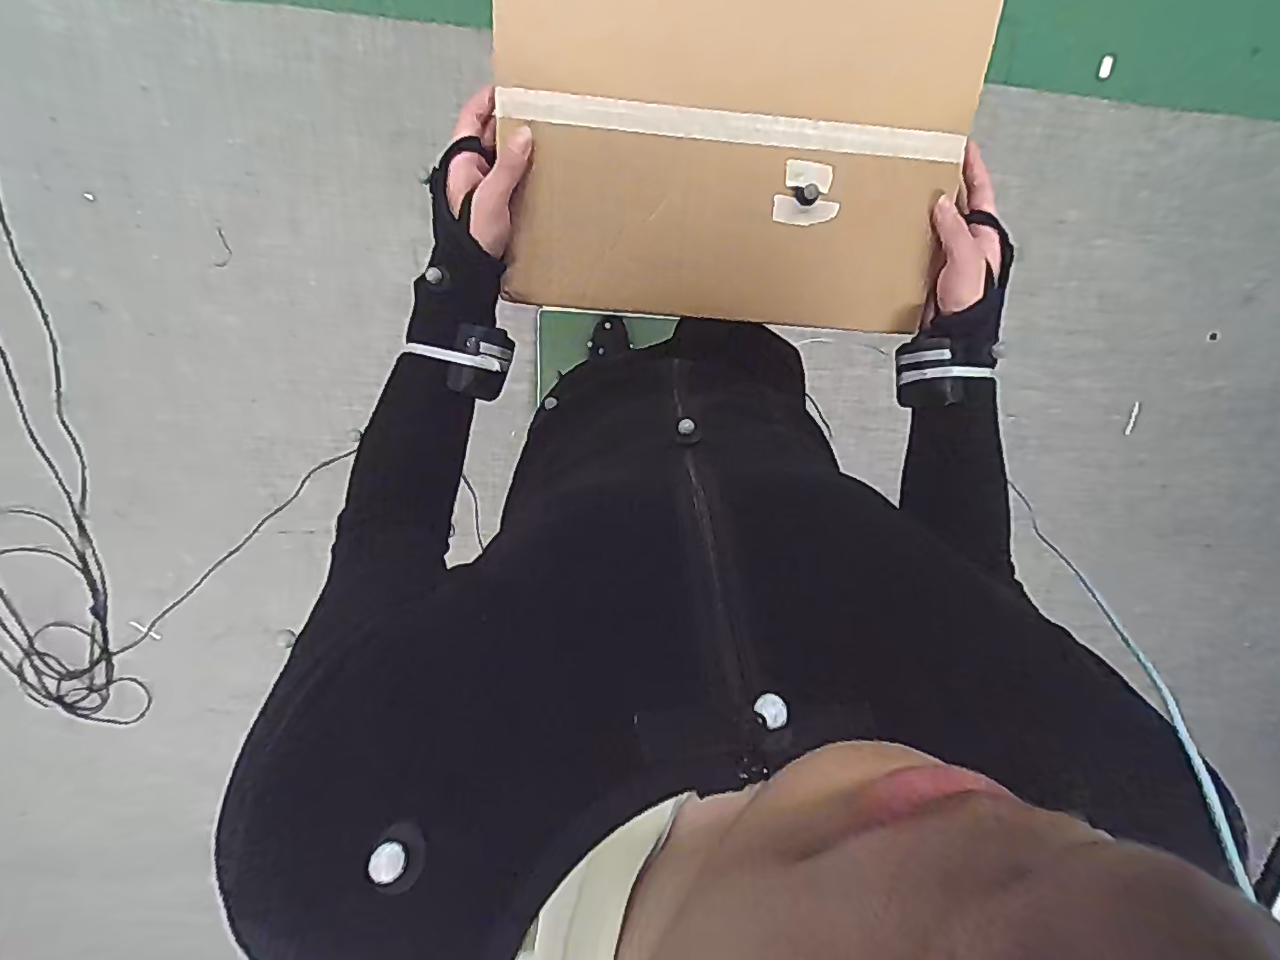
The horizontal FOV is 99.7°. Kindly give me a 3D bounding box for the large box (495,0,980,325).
[{"bbox_3d":[0.068,-0.357,0.611,0.408,0.320,0.320,2,112,-5],"label":"large box"}]
